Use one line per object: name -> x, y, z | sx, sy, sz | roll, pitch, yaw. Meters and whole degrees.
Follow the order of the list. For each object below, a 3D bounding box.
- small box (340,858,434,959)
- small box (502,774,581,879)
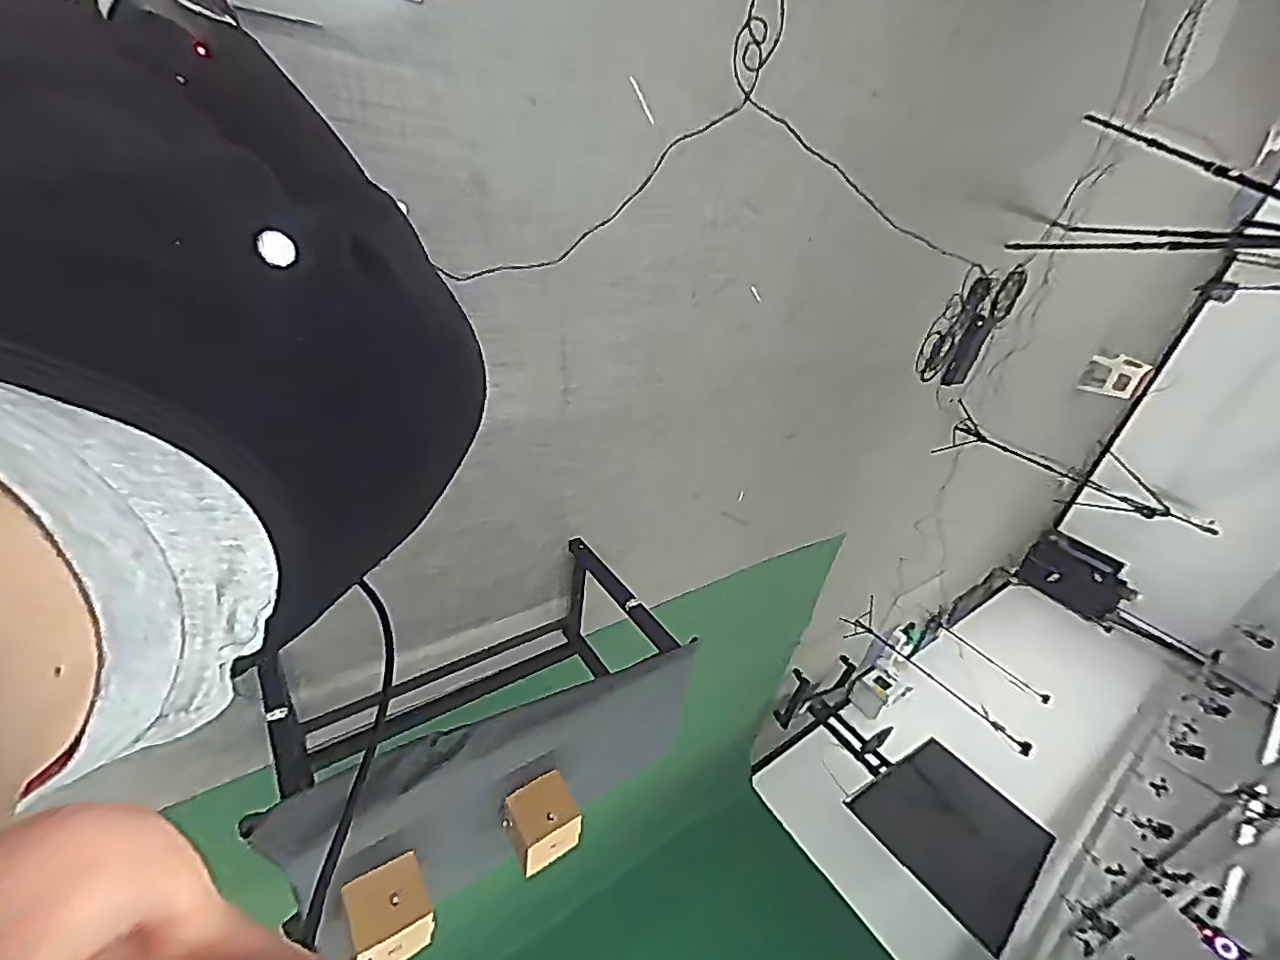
small box -> -0.643, 1.116, 1.369 | 0.179, 0.176, 0.168 | -9, 124, -39
small box -> -0.299, 1.033, 1.626 | 0.179, 0.176, 0.168 | -14, 126, -33
